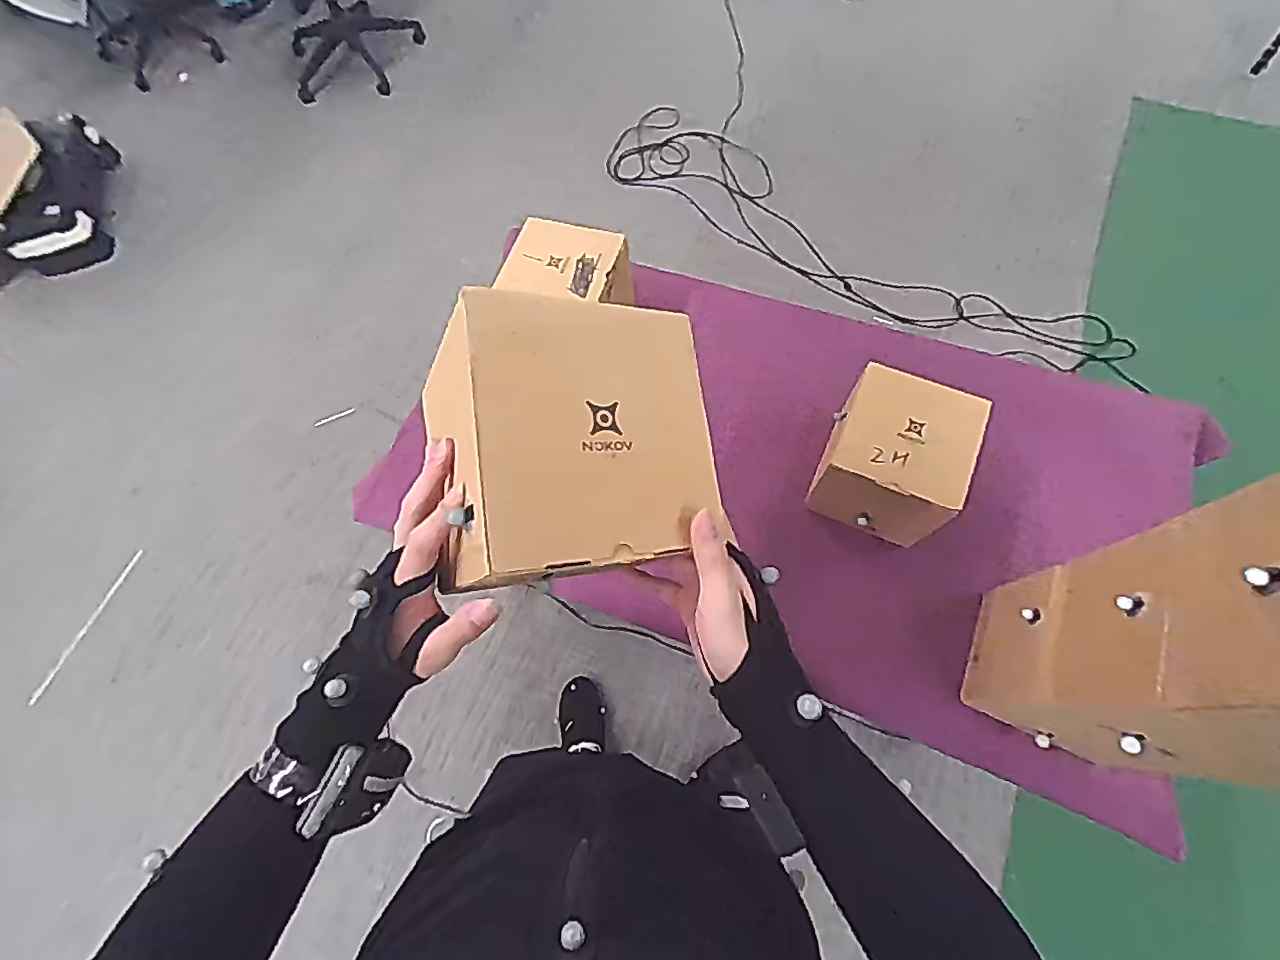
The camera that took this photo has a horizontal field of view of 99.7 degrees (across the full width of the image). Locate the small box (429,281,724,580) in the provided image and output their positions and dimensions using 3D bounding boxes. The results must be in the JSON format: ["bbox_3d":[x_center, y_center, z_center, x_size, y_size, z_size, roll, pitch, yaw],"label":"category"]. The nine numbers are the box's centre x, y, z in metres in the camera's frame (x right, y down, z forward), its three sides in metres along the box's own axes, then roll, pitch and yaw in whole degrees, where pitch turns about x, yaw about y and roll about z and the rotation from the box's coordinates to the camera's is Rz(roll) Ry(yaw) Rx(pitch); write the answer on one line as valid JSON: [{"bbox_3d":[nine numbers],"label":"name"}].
[{"bbox_3d":[-0.061,-0.023,0.420,0.168,0.176,0.179,-3,80,-30],"label":"small box"}]

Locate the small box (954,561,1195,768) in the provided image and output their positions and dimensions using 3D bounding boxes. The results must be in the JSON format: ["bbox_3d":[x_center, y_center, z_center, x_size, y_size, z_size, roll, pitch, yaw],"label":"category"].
[{"bbox_3d":[0.533,0.224,0.670,0.179,0.176,0.168,23,71,12],"label":"small box"}]

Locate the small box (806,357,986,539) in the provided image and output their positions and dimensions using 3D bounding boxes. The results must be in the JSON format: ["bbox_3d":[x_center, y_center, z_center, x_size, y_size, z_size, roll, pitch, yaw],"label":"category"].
[{"bbox_3d":[0.358,-0.040,0.788,0.168,0.176,0.179,23,72,13],"label":"small box"}]

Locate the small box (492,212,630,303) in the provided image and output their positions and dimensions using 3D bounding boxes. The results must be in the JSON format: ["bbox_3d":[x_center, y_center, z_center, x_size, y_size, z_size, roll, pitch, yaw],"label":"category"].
[{"bbox_3d":[-0.124,-0.319,0.928,0.179,0.176,0.168,16,71,10],"label":"small box"}]
